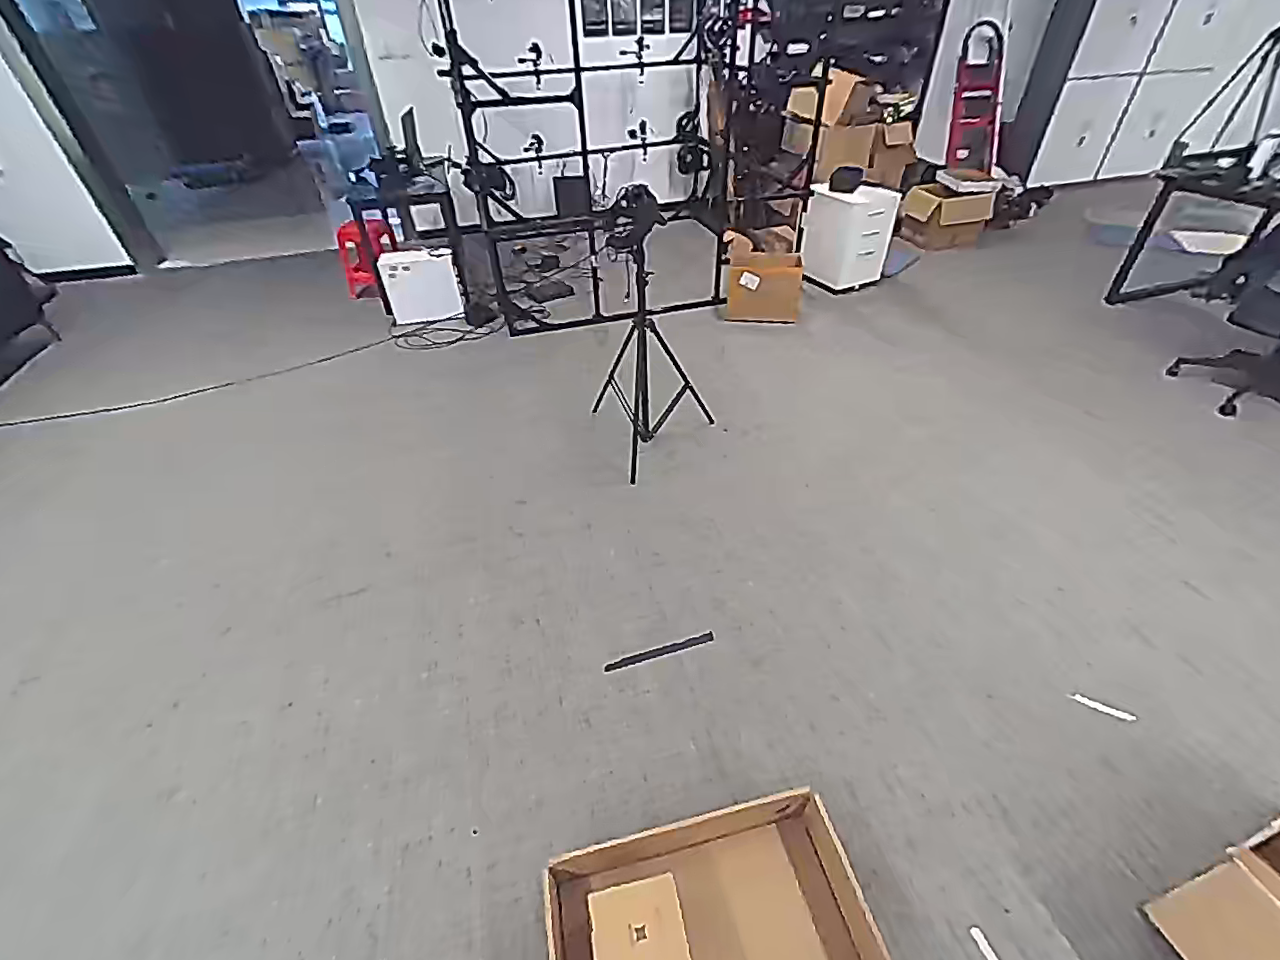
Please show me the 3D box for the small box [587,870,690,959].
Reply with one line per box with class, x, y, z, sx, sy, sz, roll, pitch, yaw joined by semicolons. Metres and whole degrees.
small box;-0.004;0.917;1.078;0.179;0.176;0.168;-8;43;-10
